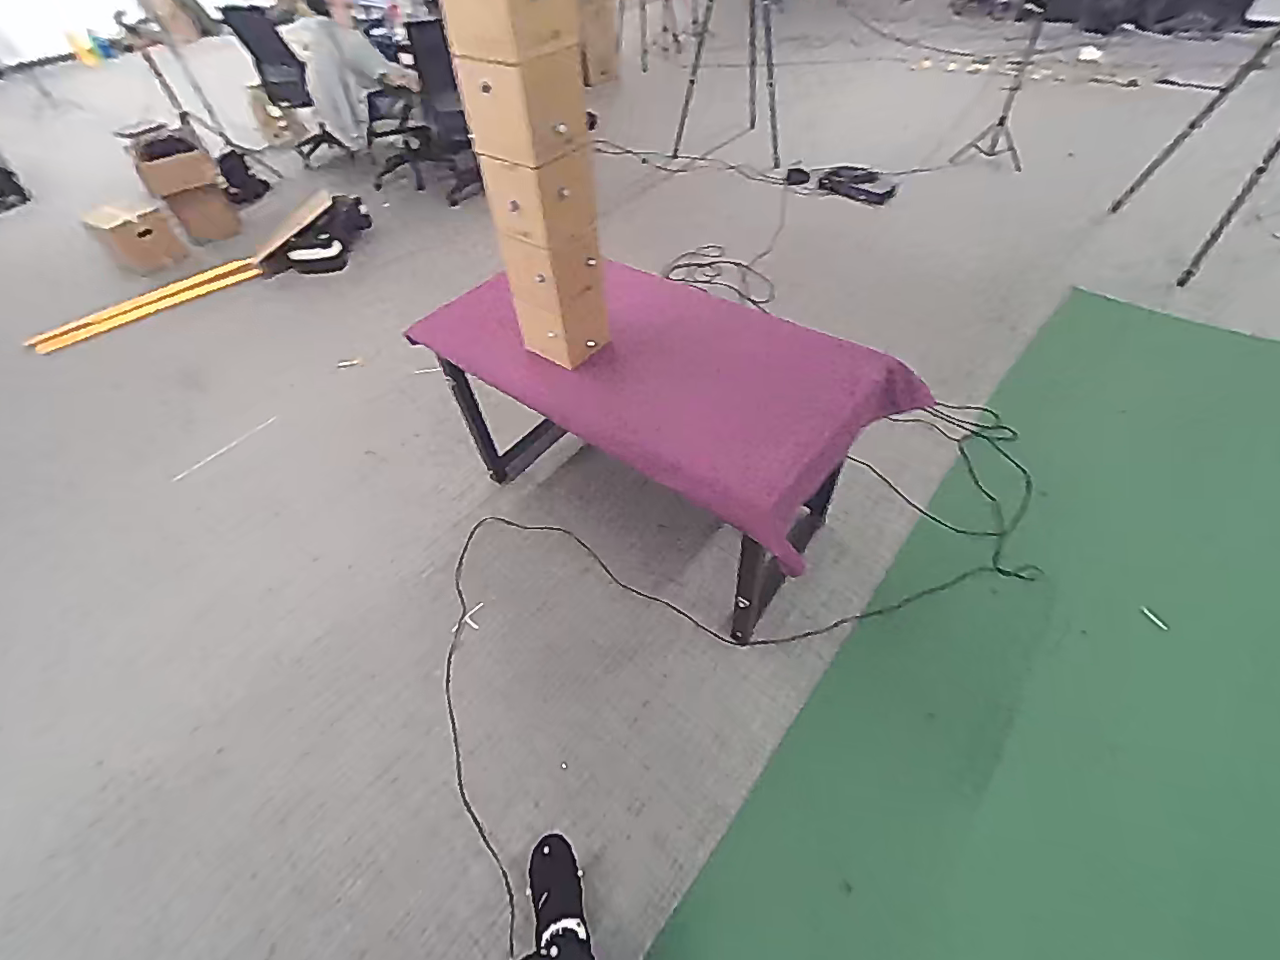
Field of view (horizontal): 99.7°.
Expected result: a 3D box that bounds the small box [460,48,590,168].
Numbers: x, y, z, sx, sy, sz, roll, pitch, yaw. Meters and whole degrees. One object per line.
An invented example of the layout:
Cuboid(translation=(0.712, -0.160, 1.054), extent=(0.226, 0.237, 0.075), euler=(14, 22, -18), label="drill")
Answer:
Cuboid(translation=(-0.219, -0.744, 1.072), extent=(0.179, 0.176, 0.168), euler=(29, 57, 25), label="small box")

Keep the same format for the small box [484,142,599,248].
Cuboid(translation=(-0.208, -0.641, 1.200), extent=(0.168, 0.176, 0.179), euler=(29, 58, 25), label="small box")

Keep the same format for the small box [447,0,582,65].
Cuboid(translation=(-0.222, -0.850, 0.949), extent=(0.179, 0.176, 0.168), euler=(29, 57, 26), label="small box")

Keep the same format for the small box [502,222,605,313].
Cuboid(translation=(-0.202, -0.532, 1.321), extent=(0.179, 0.176, 0.168), euler=(30, 58, 26), label="small box")
